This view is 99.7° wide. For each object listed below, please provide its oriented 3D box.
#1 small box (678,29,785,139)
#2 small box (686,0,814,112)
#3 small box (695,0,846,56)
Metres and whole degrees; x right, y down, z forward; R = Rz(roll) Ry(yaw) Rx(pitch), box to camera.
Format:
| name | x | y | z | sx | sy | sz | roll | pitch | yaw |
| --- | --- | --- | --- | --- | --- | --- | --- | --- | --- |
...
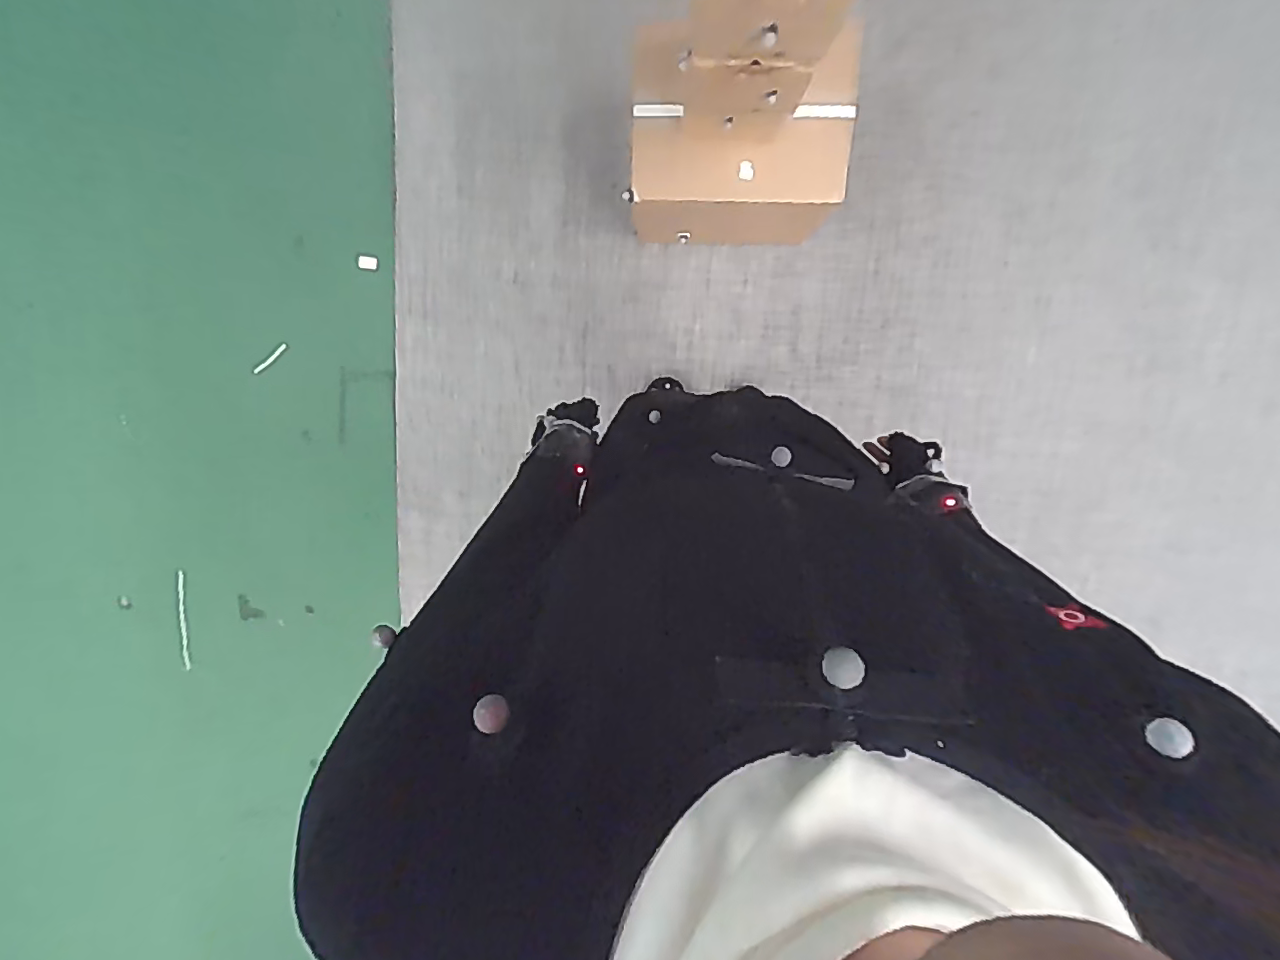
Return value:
| name | x | y | z | sx | sy | sz | roll | pitch | yaw |
| --- | --- | --- | --- | --- | --- | --- | --- | --- | --- |
| small box | 0.164 | -0.697 | 0.904 | 0.179 | 0.176 | 0.168 | 10 | 105 | 1 |
| small box | 0.152 | -0.642 | 0.755 | 0.168 | 0.176 | 0.179 | 3 | 105 | 2 |
| small box | 0.150 | -0.604 | 0.596 | 0.168 | 0.176 | 0.179 | 3 | 107 | 2 |
